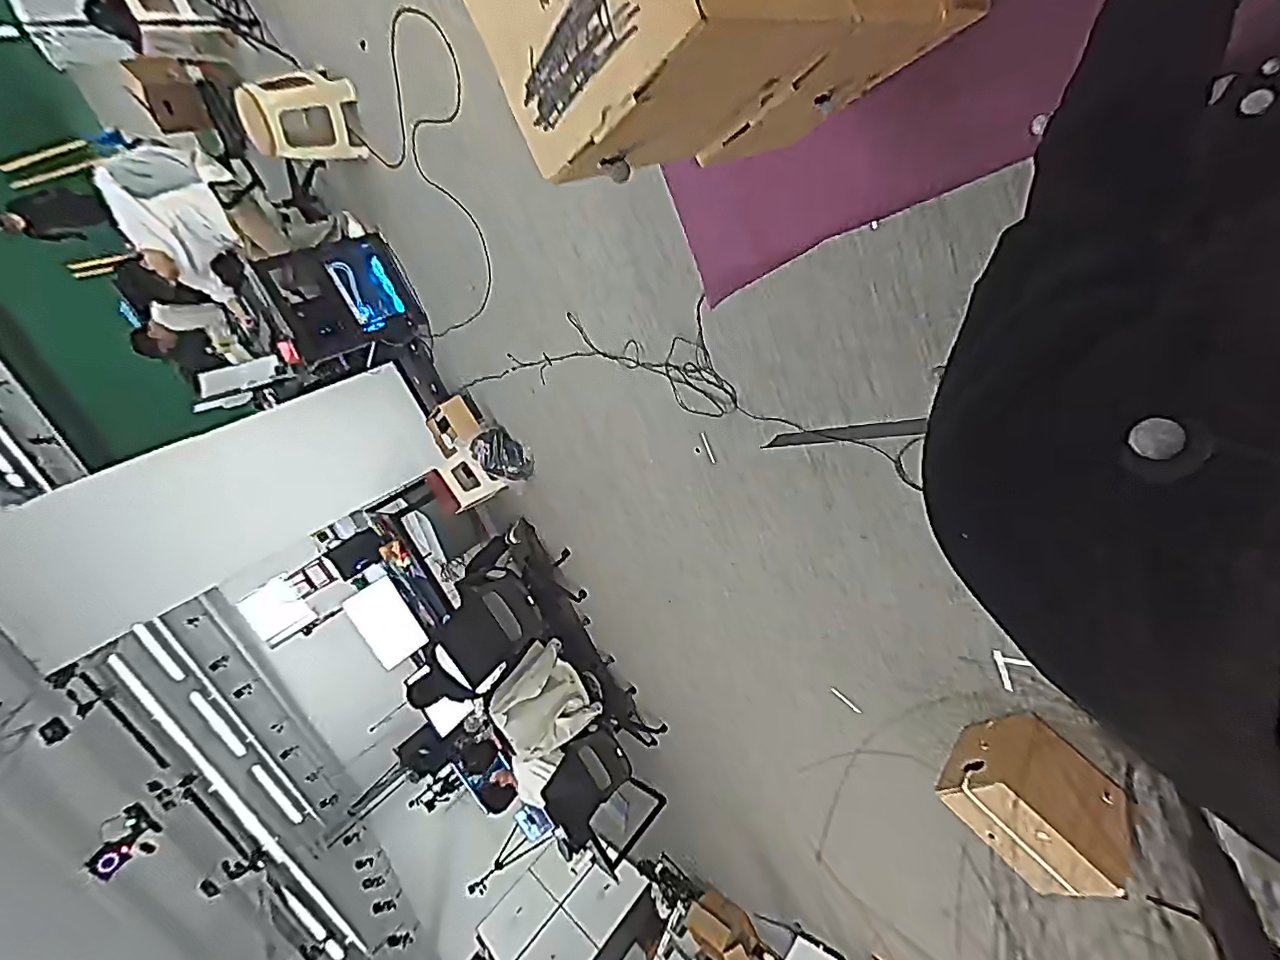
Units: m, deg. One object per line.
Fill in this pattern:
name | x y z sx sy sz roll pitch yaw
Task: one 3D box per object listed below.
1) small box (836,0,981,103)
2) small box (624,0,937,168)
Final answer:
small box | 0.215 -0.504 0.543 0.168 0.176 0.179 -4 116 51
small box | 0.117 -0.406 0.454 0.168 0.176 0.179 -11 111 53
